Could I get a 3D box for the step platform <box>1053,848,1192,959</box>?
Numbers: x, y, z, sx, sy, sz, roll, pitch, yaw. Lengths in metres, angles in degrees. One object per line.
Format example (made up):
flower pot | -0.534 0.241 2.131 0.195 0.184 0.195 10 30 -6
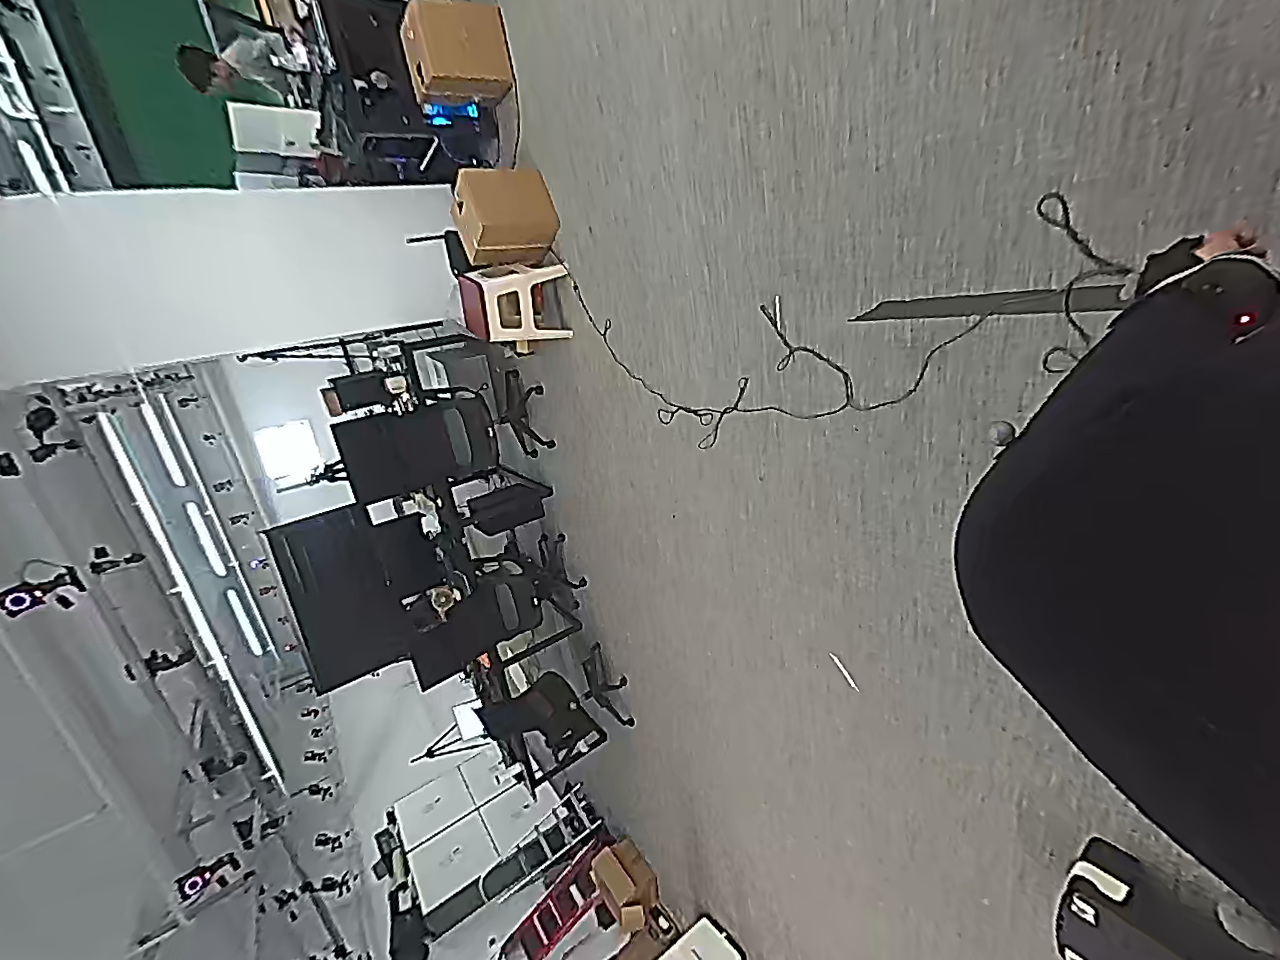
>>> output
step platform | 1.337 1.196 1.191 0.684 0.204 0.286 17 123 53
